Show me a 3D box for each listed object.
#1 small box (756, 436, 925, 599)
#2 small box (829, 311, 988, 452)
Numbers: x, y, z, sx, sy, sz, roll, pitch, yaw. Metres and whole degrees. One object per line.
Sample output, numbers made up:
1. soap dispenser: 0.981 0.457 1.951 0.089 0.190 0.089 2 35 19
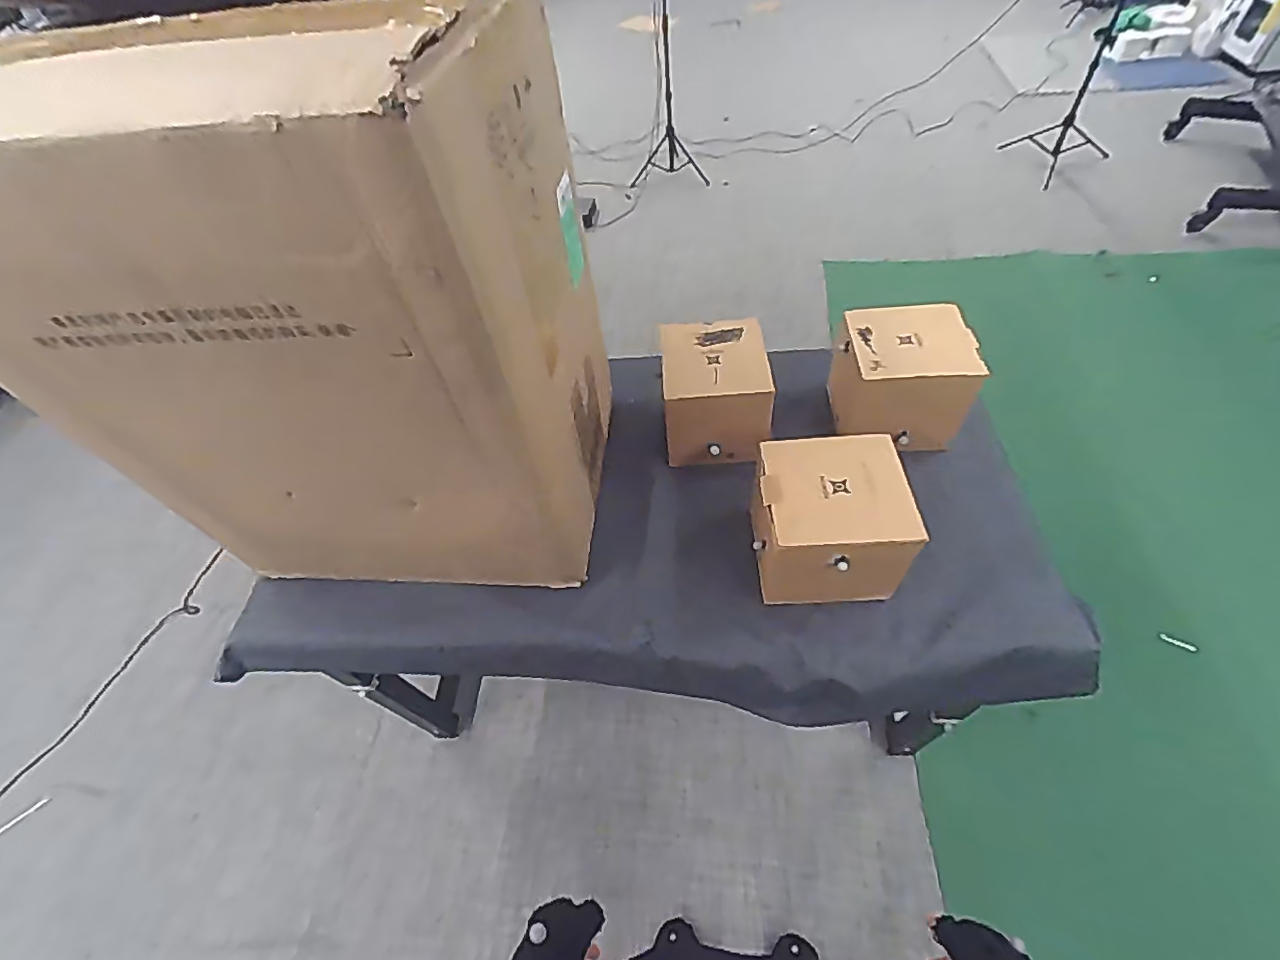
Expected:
1. small box: 0.259 0.058 0.752 0.179 0.176 0.168 -3 54 4
2. small box: 0.428 -0.159 0.895 0.179 0.176 0.168 -1 51 6
